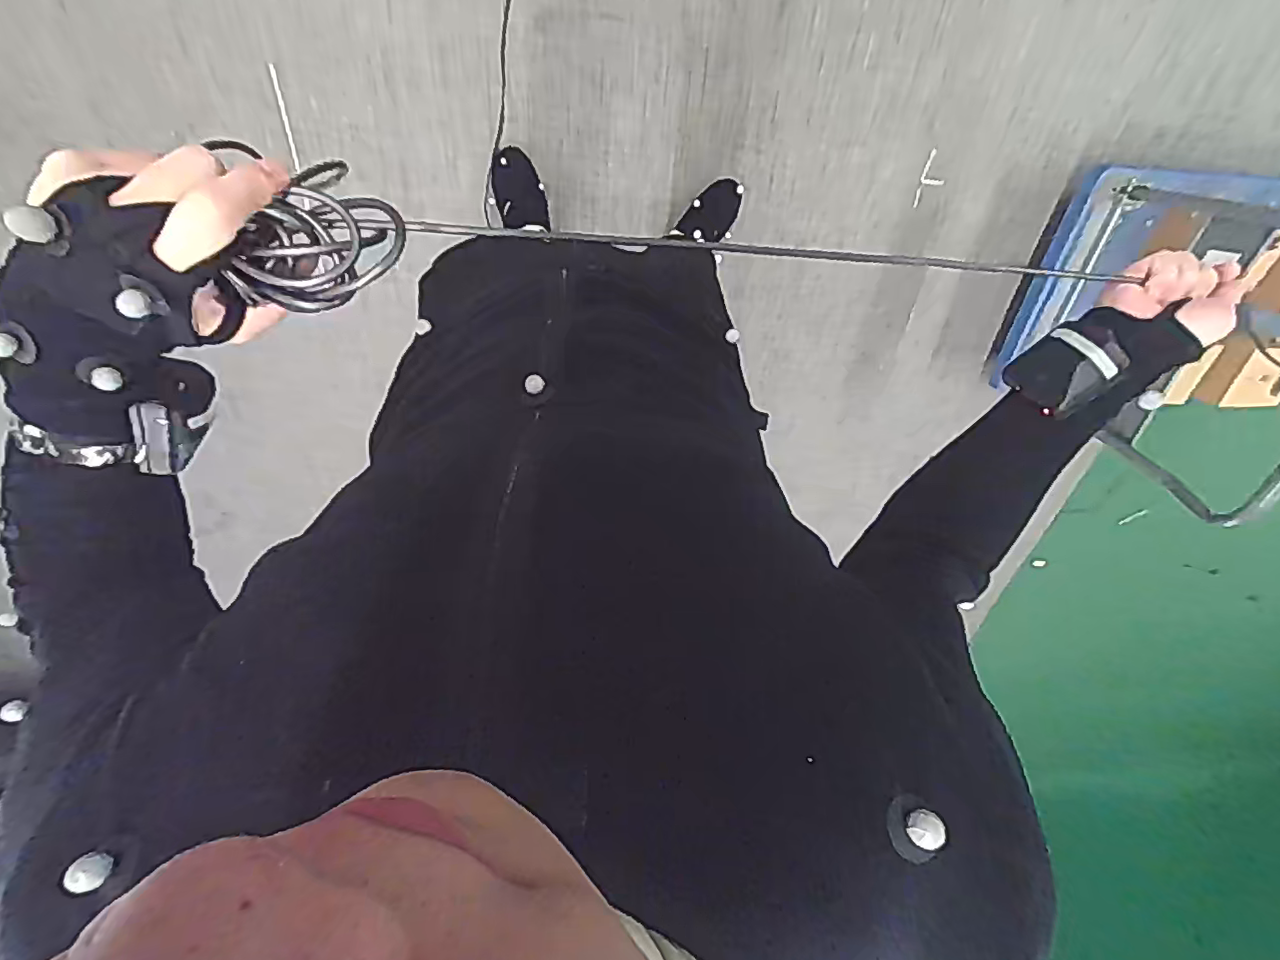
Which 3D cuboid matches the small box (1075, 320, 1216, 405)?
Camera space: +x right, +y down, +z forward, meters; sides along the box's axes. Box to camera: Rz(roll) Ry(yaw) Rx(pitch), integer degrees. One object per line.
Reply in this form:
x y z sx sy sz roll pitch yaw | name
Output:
1.329 -0.315 1.437 0.179 0.176 0.168 3 125 -6 | small box

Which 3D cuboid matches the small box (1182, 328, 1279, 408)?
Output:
1.598 -0.307 1.465 0.179 0.176 0.168 -1 124 -3 | small box

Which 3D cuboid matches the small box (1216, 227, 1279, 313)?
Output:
1.601 -0.513 1.322 0.179 0.176 0.168 -1 126 -4 | small box
